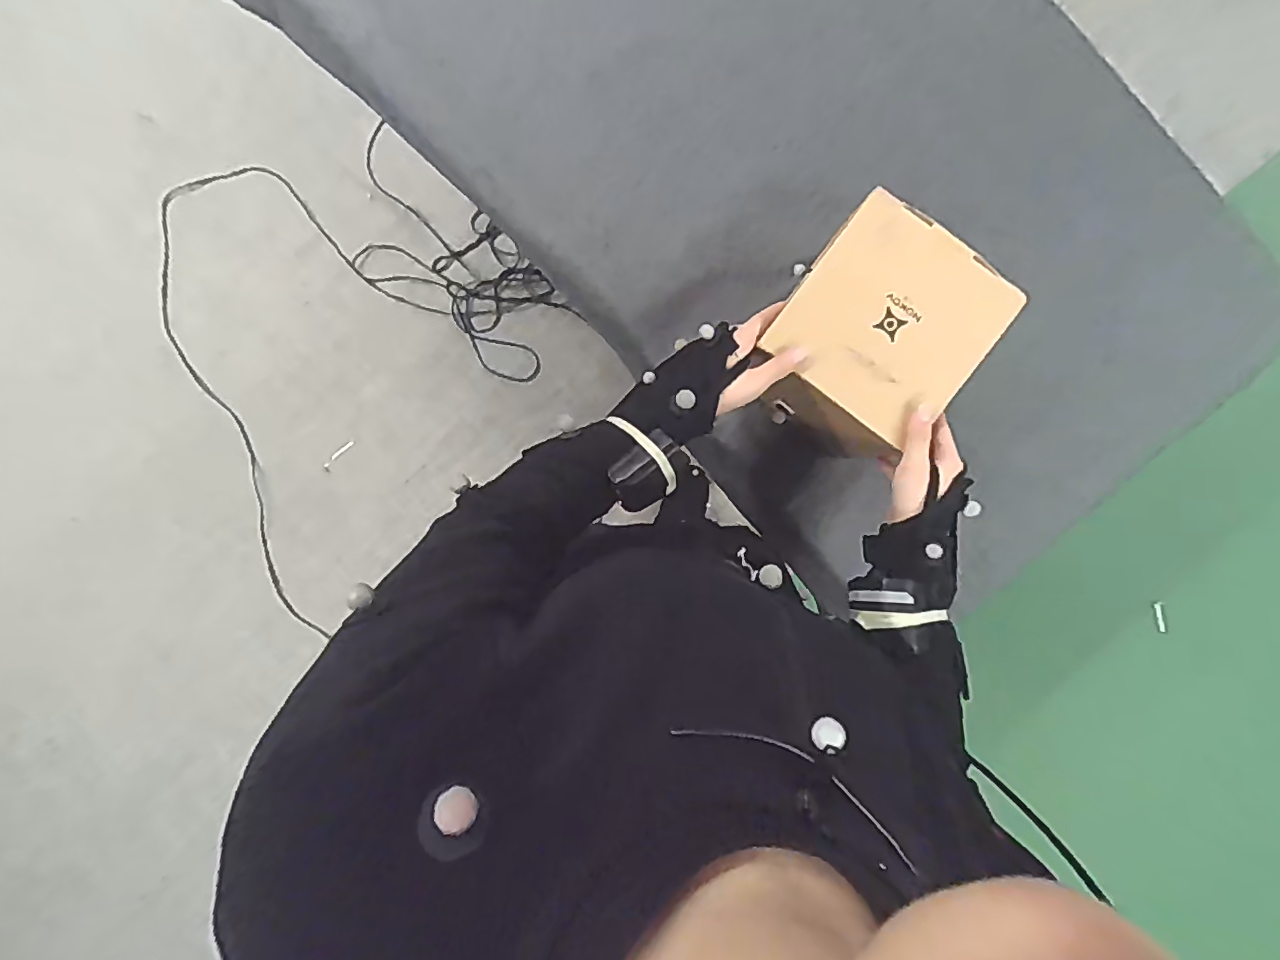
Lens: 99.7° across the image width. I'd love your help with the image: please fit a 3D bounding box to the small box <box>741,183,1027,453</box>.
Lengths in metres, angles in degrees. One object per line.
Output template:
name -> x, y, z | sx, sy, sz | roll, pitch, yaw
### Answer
small box -> 0.220, -0.143, 0.546 | 0.168, 0.176, 0.179 | 36, 92, 1
